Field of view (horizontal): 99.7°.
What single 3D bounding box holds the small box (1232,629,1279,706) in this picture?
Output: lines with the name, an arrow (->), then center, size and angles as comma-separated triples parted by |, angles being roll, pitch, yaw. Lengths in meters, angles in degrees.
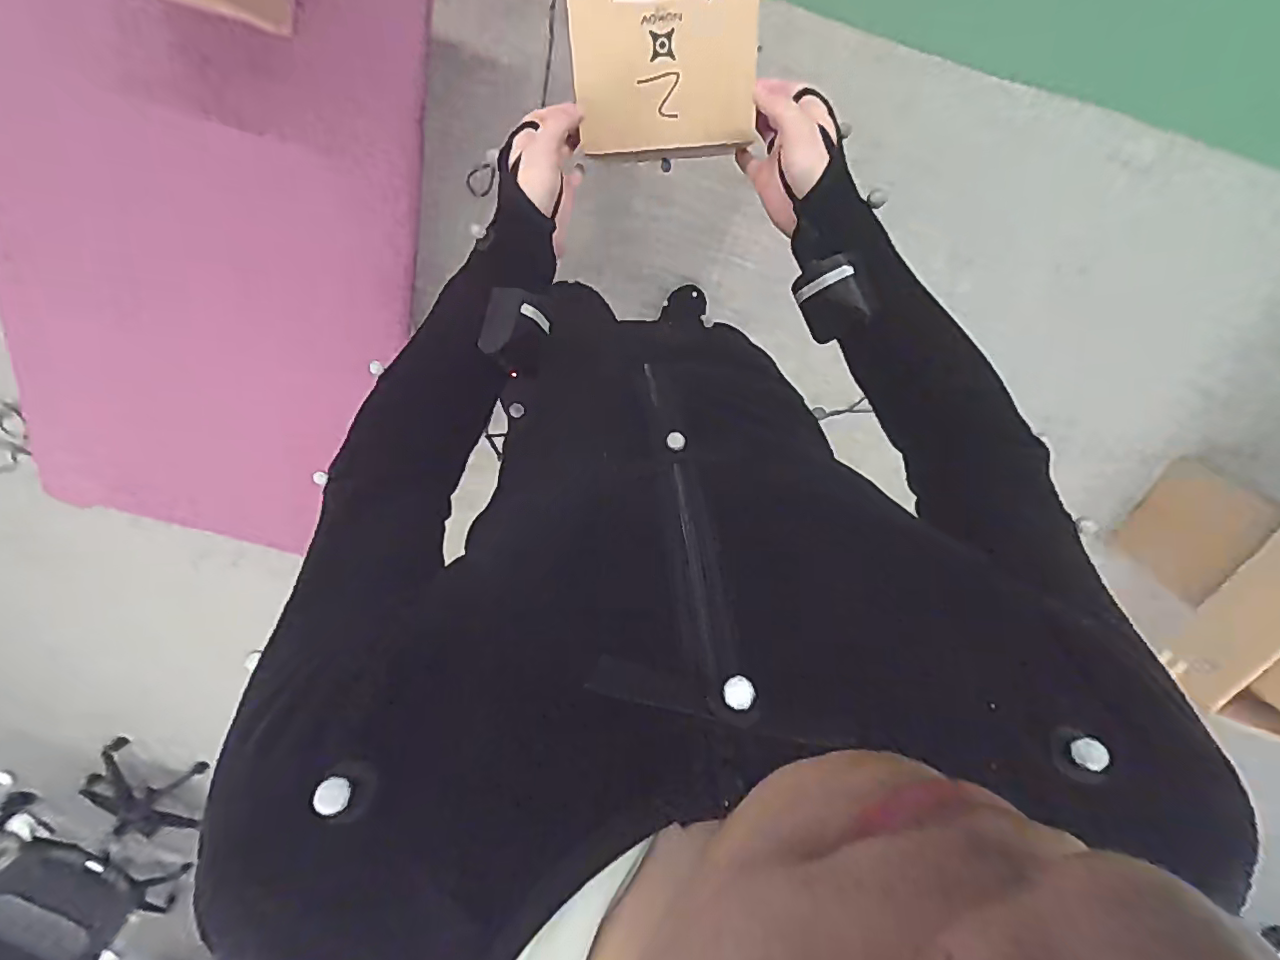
small box -> 1.573, 0.465, 1.258 | 0.179, 0.176, 0.168 | 20, 114, -6
